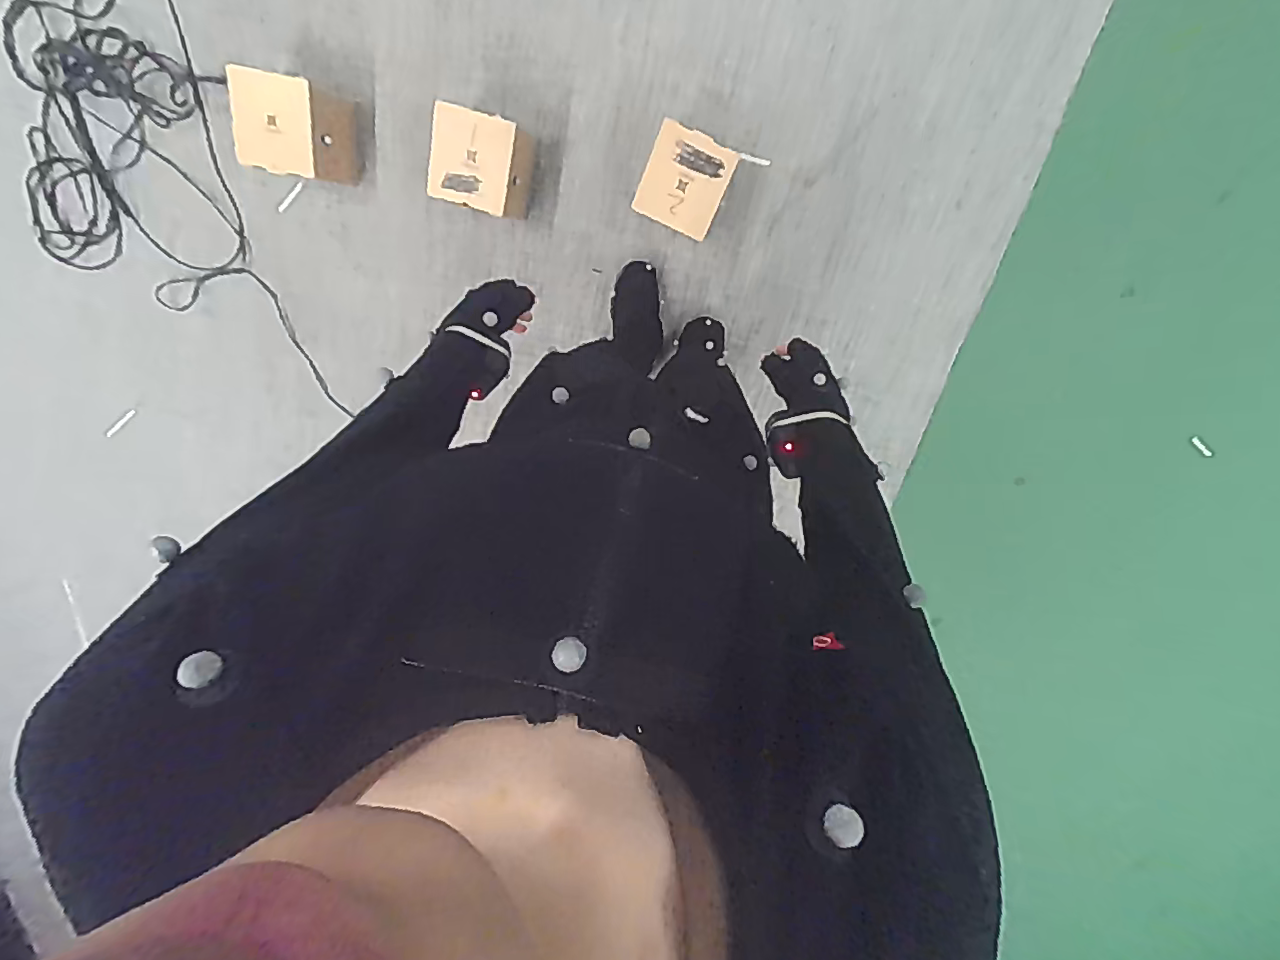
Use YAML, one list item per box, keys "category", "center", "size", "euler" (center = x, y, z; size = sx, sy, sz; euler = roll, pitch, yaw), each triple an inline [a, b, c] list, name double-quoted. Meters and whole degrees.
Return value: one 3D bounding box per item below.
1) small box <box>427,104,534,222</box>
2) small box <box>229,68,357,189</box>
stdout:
- category: "small box"
  center: [-0.338, -0.671, 1.167]
  size: [0.168, 0.176, 0.179]
  euler: [16, 113, -3]
- category: "small box"
  center: [-0.735, -0.745, 1.165]
  size: [0.168, 0.176, 0.179]
  euler: [11, 115, 0]
